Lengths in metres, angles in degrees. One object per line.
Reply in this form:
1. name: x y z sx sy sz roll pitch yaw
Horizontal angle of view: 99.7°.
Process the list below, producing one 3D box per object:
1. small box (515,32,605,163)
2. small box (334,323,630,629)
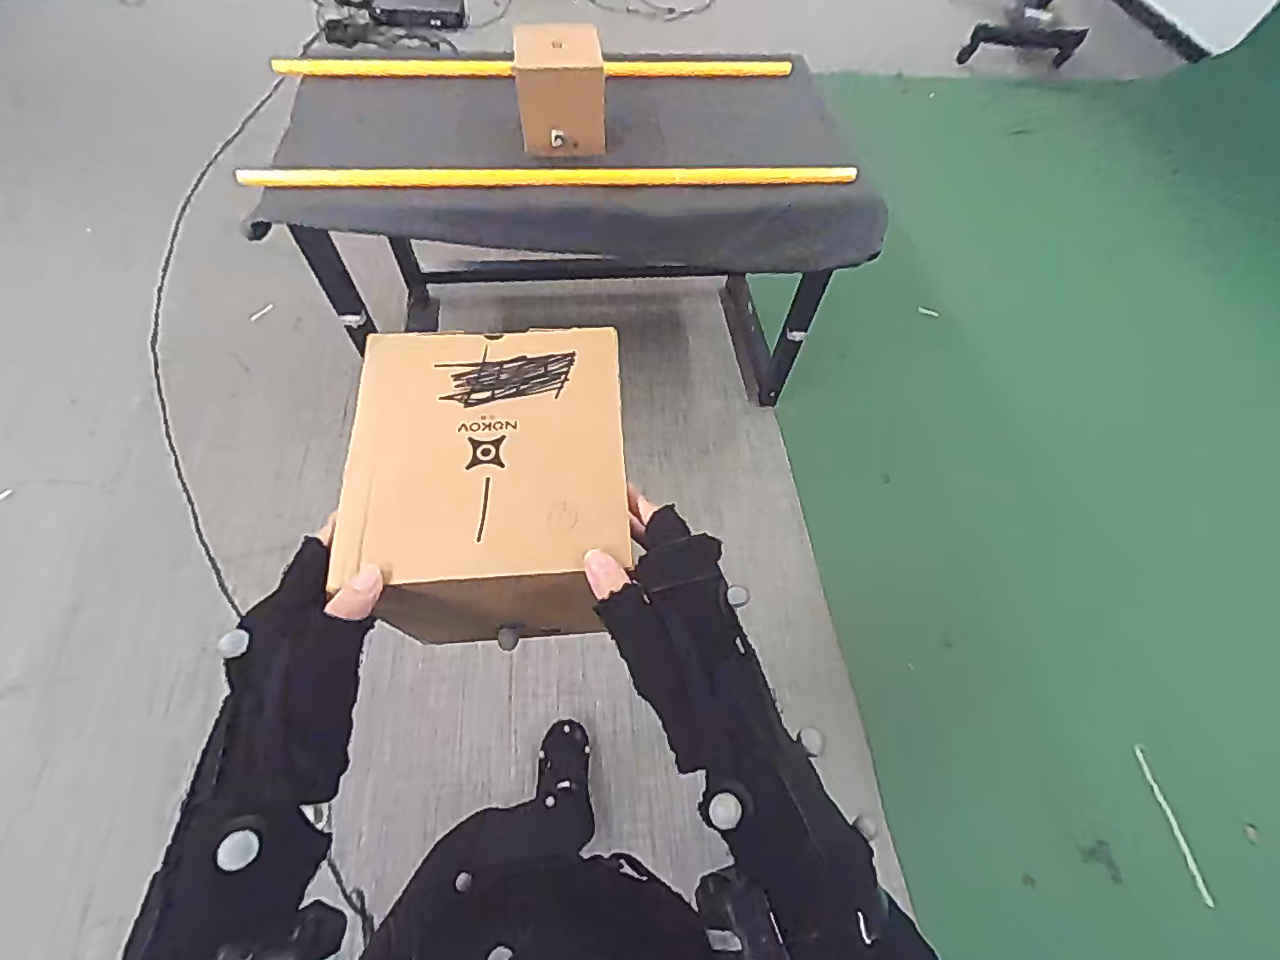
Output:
1. small box: -0.162 -0.785 1.114 0.168 0.176 0.179 -7 62 -6
2. small box: -0.096 0.005 0.411 0.168 0.176 0.179 -3 64 -3
